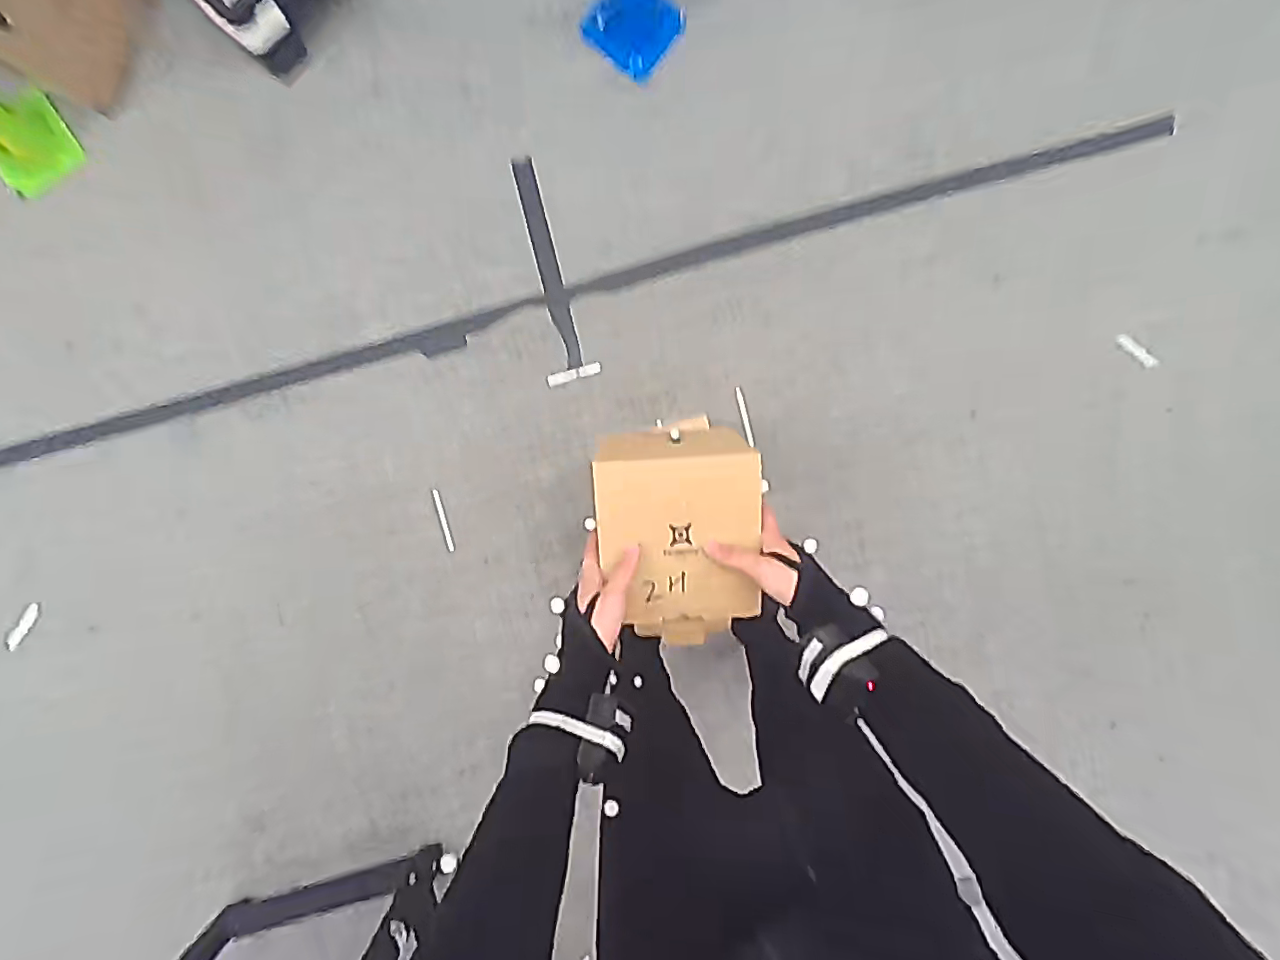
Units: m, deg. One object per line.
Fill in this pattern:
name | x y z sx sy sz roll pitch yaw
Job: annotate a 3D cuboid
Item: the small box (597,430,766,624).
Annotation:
small box | 0.039 0.040 0.610 0.168 0.176 0.179 -3 105 0
